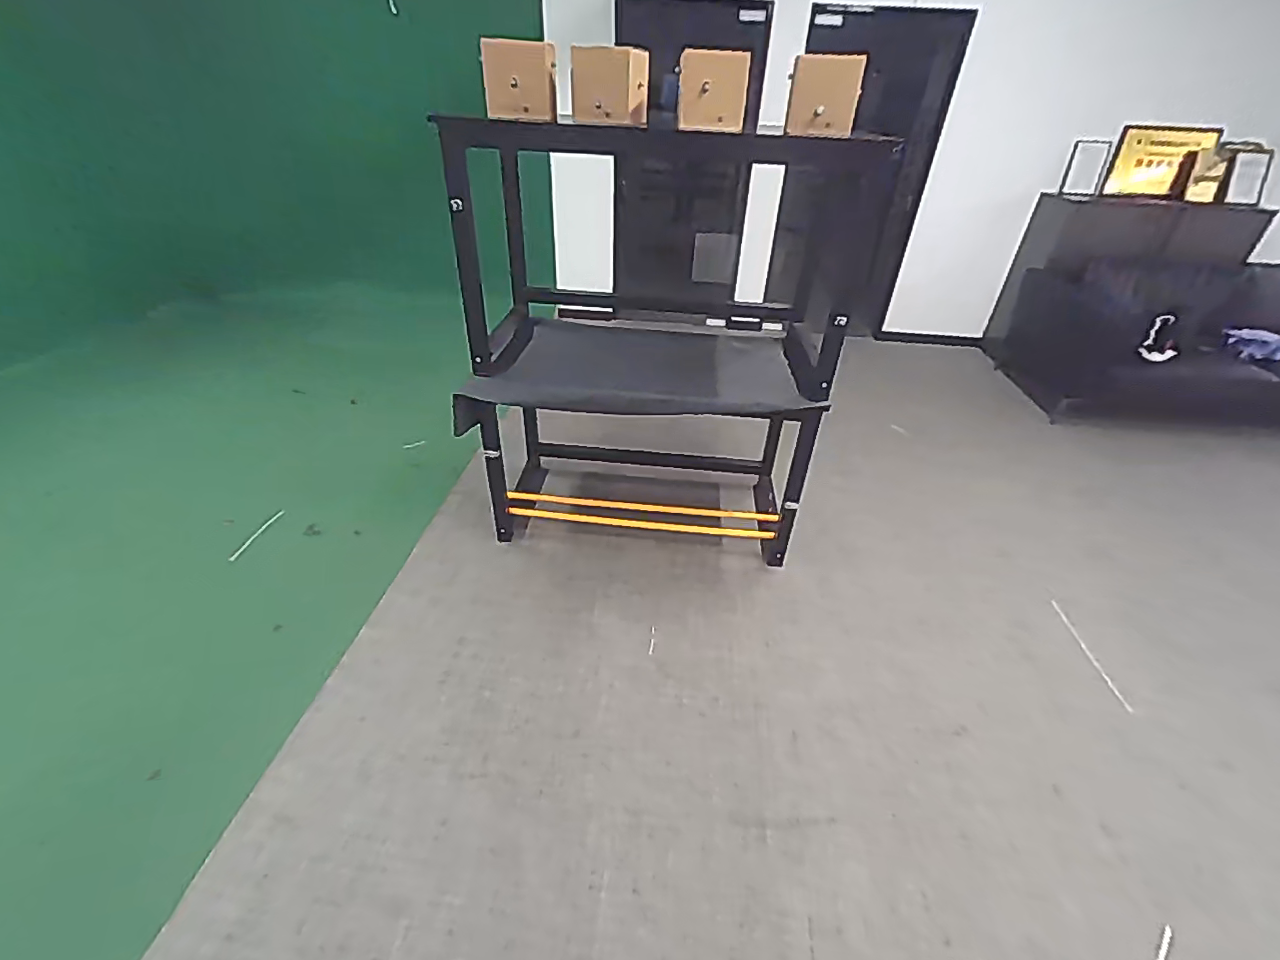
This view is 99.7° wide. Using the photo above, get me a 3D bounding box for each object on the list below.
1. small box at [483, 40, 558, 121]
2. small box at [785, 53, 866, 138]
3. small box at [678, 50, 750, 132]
[{"bbox_3d":[-0.319,-1.088,1.481,0.168,0.176,0.179,3,35,-1],"label":"small box"},{"bbox_3d":[0.485,-1.020,1.439,0.168,0.176,0.179,7,36,8],"label":"small box"},{"bbox_3d":[0.192,-1.038,1.450,0.168,0.176,0.179,2,34,-1],"label":"small box"}]
